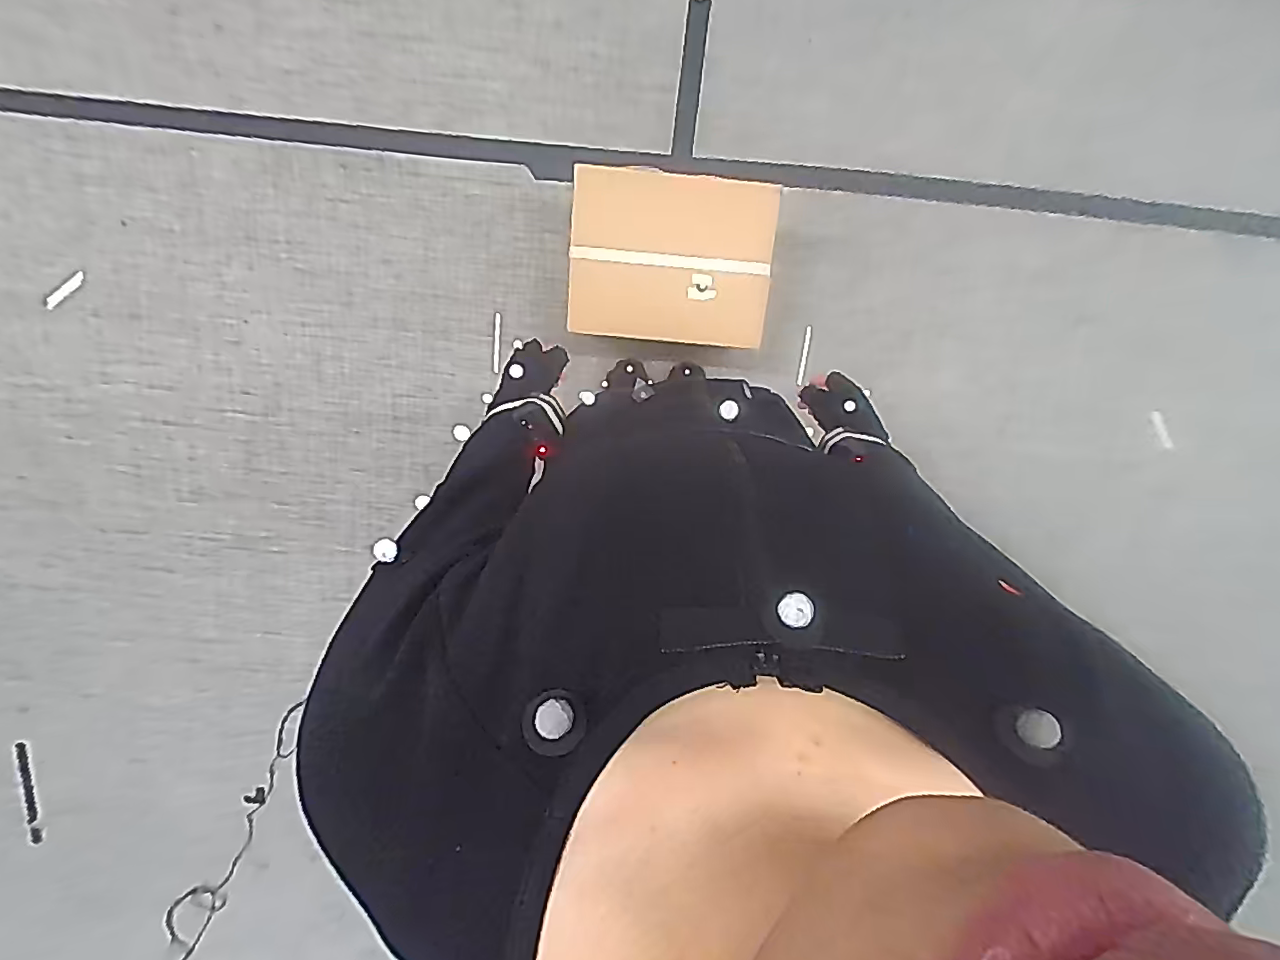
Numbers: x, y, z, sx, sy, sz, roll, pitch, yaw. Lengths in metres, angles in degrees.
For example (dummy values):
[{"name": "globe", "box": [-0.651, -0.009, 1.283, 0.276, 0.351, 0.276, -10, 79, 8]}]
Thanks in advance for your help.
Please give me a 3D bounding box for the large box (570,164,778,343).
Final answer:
[{"name": "large box", "box": [0.056, -0.482, 1.222, 0.408, 0.320, 0.320, 4, 105, -3]}]
